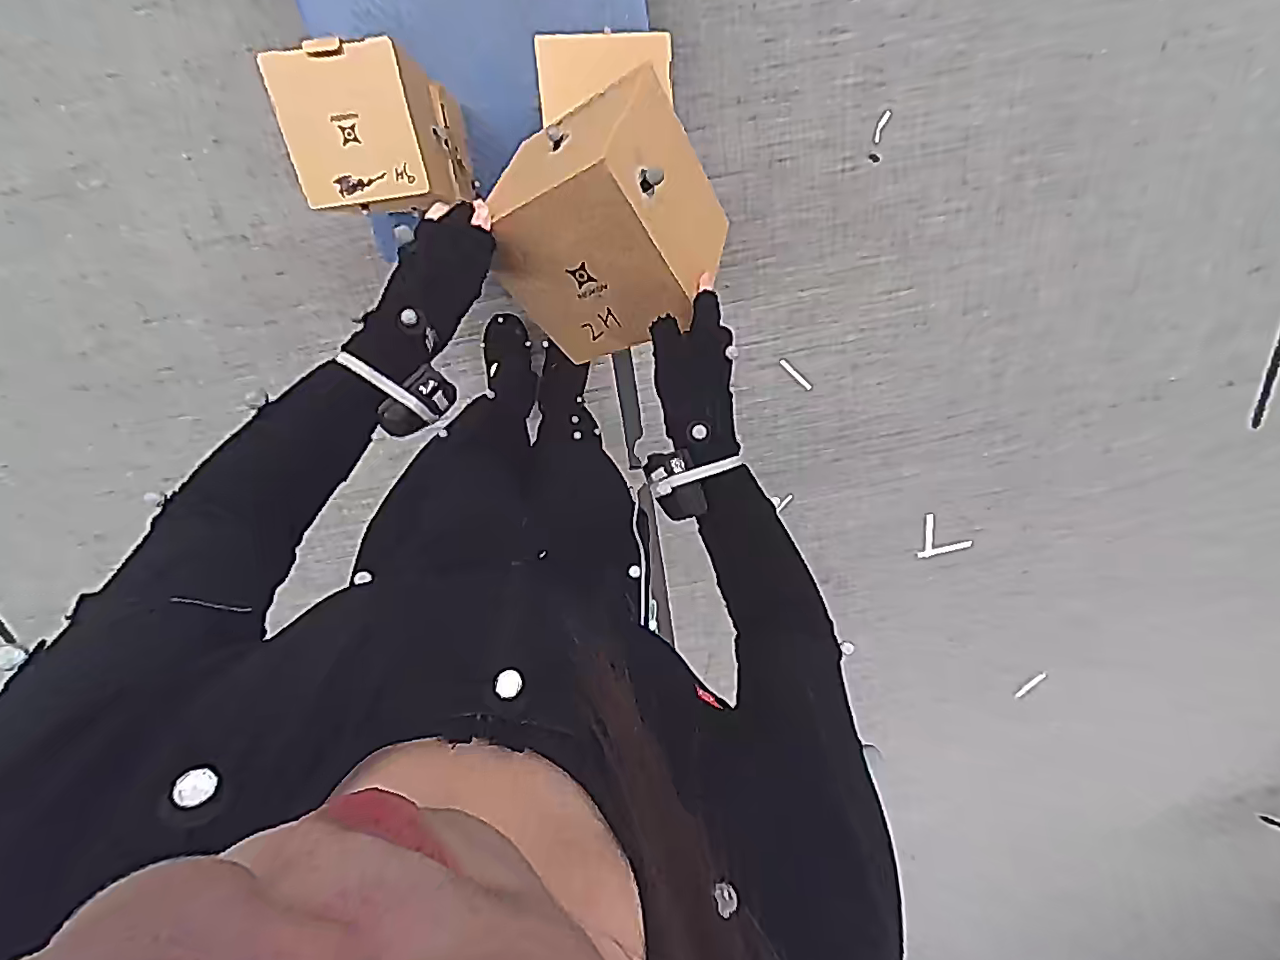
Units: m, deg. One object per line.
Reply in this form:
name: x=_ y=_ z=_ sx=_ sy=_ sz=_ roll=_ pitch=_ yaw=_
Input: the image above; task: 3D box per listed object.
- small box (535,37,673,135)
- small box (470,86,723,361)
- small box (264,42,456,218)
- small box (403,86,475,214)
small box: x=-0.050 y=-0.517 z=0.790 sx=0.179 sy=0.176 sz=0.168 roll=-5 pitch=115 yaw=-5
small box: x=-0.030 y=-0.256 z=0.551 sx=0.168 sy=0.176 sz=0.179 roll=-7 pitch=143 yaw=34
small box: x=-0.378 y=-0.482 z=0.769 sx=0.168 sy=0.176 sz=0.179 roll=-9 pitch=114 yaw=-2
small box: x=-0.389 y=-0.550 z=0.919 sx=0.179 sy=0.176 sz=0.168 roll=-6 pitch=115 yaw=-2
